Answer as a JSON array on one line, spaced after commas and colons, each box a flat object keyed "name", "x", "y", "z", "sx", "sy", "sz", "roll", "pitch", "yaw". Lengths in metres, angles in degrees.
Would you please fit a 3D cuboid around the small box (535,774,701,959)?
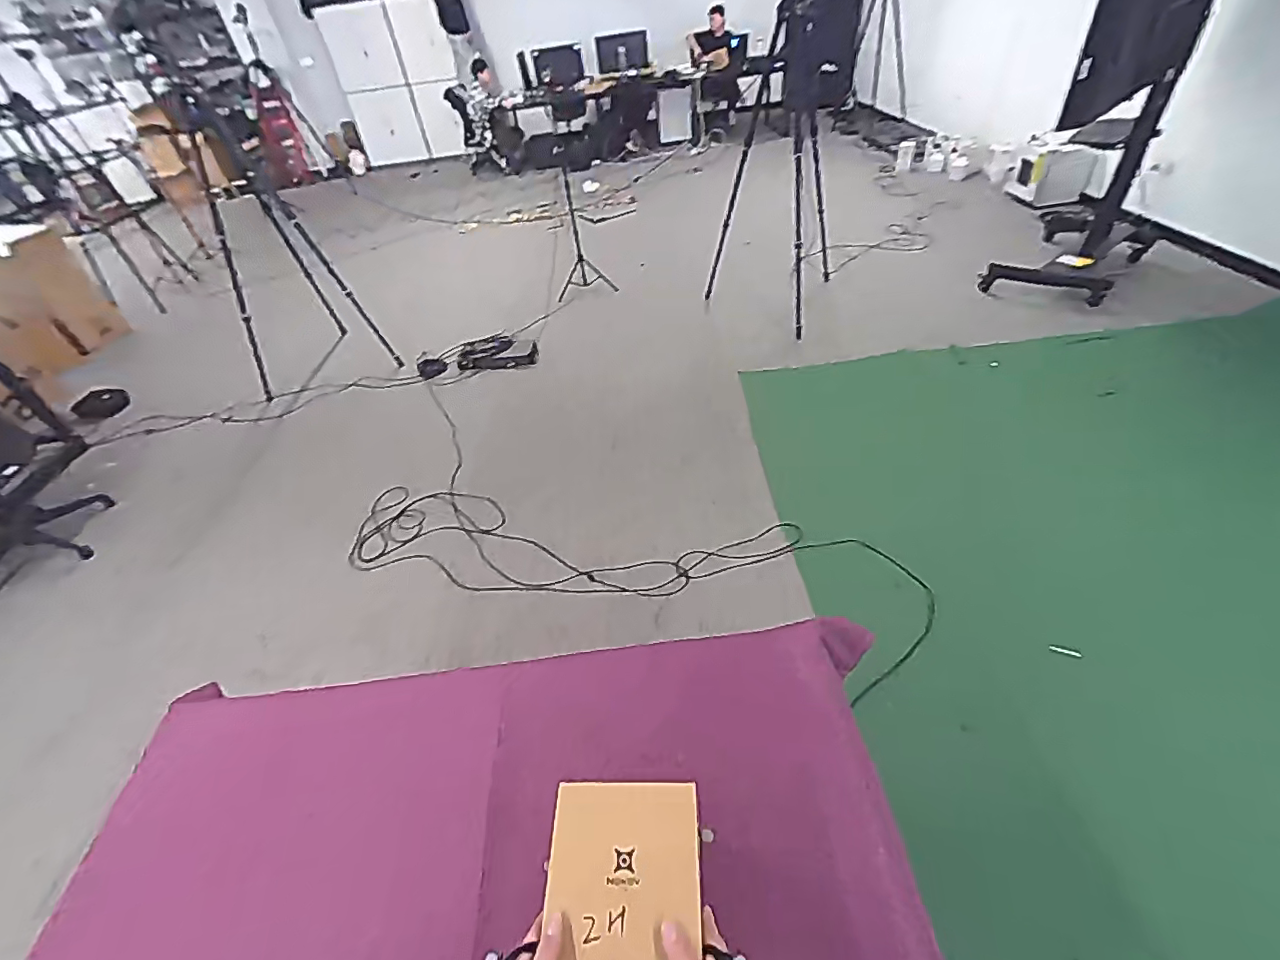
[{"name": "small box", "x": -0.013, "y": 0.471, "z": 0.640, "sx": 0.168, "sy": 0.176, "sz": 0.179, "roll": -3, "pitch": 45, "yaw": 5}]
